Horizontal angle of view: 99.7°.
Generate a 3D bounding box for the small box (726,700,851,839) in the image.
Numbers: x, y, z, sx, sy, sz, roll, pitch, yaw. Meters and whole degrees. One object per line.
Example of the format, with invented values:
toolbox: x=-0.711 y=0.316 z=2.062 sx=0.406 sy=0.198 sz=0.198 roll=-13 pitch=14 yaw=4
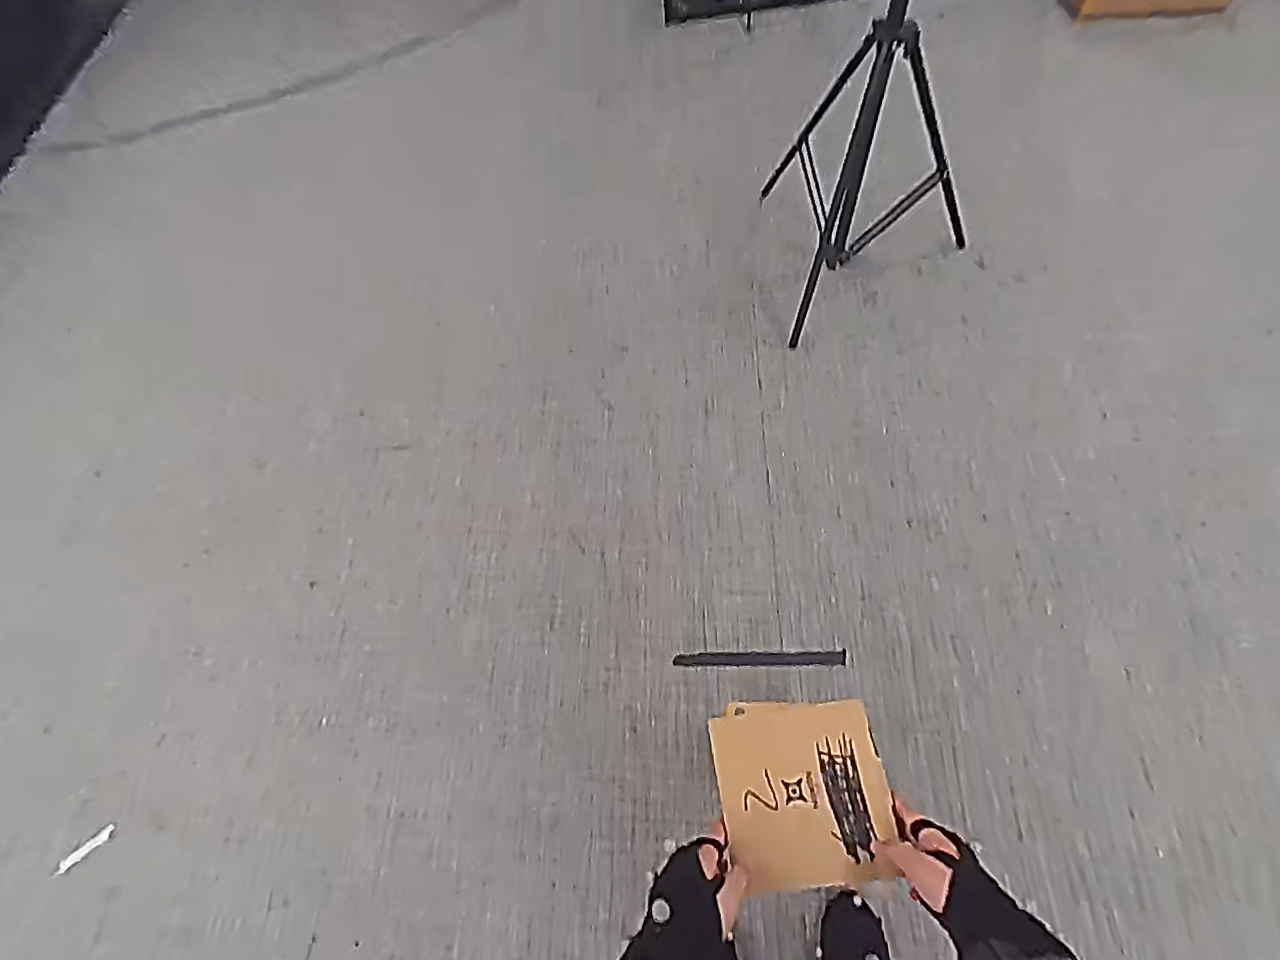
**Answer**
small box: x=0.223 y=0.450 z=0.861 sx=0.168 sy=0.176 sz=0.179 roll=-2 pitch=66 yaw=8
